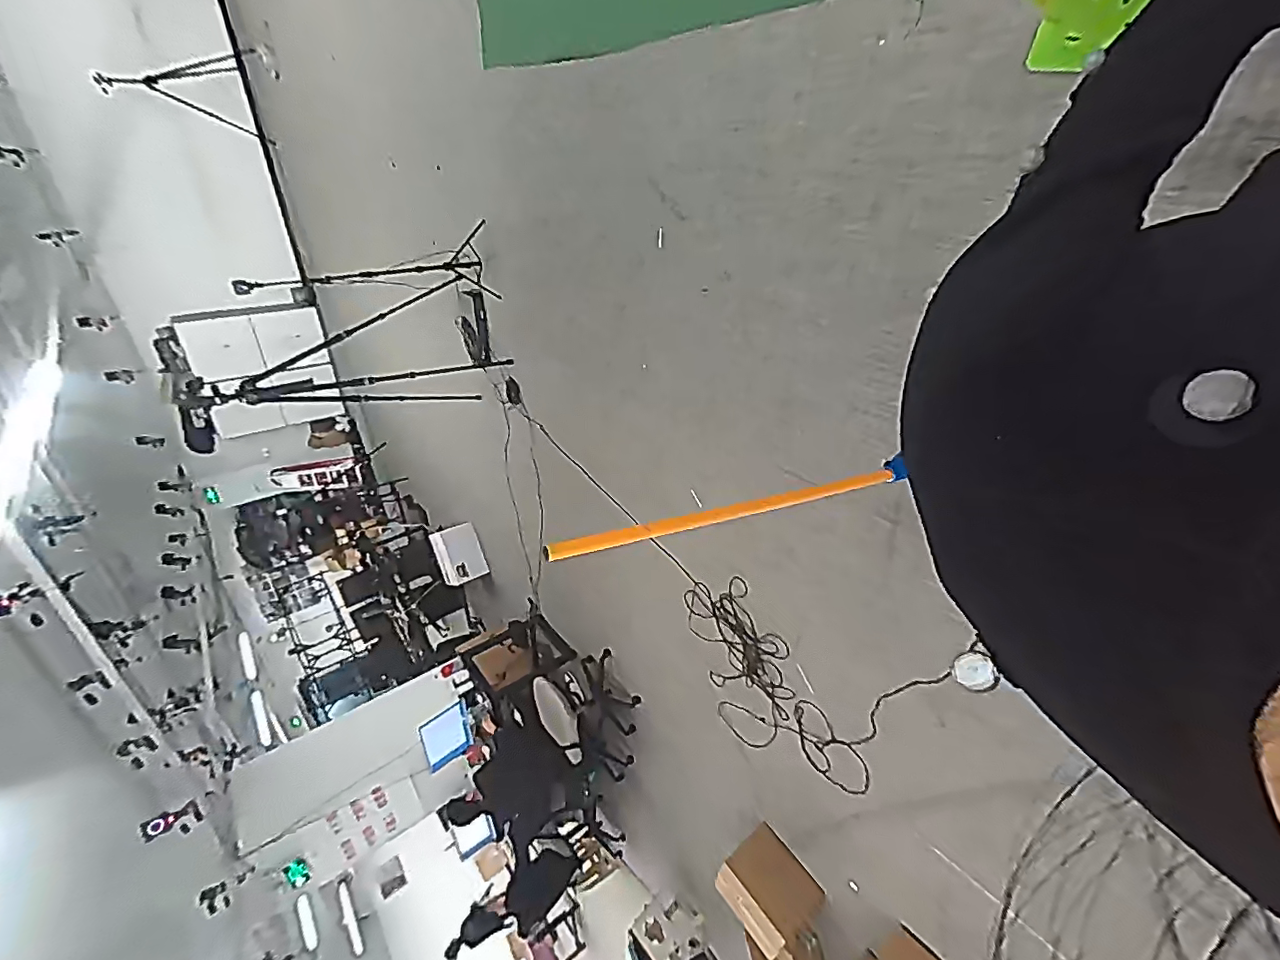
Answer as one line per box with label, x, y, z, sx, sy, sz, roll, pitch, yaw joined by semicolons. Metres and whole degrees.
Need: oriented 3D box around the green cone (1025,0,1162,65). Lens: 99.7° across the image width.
green cone;0.725;-0.848;0.916;0.202;0.368;0.200;38;136;39
